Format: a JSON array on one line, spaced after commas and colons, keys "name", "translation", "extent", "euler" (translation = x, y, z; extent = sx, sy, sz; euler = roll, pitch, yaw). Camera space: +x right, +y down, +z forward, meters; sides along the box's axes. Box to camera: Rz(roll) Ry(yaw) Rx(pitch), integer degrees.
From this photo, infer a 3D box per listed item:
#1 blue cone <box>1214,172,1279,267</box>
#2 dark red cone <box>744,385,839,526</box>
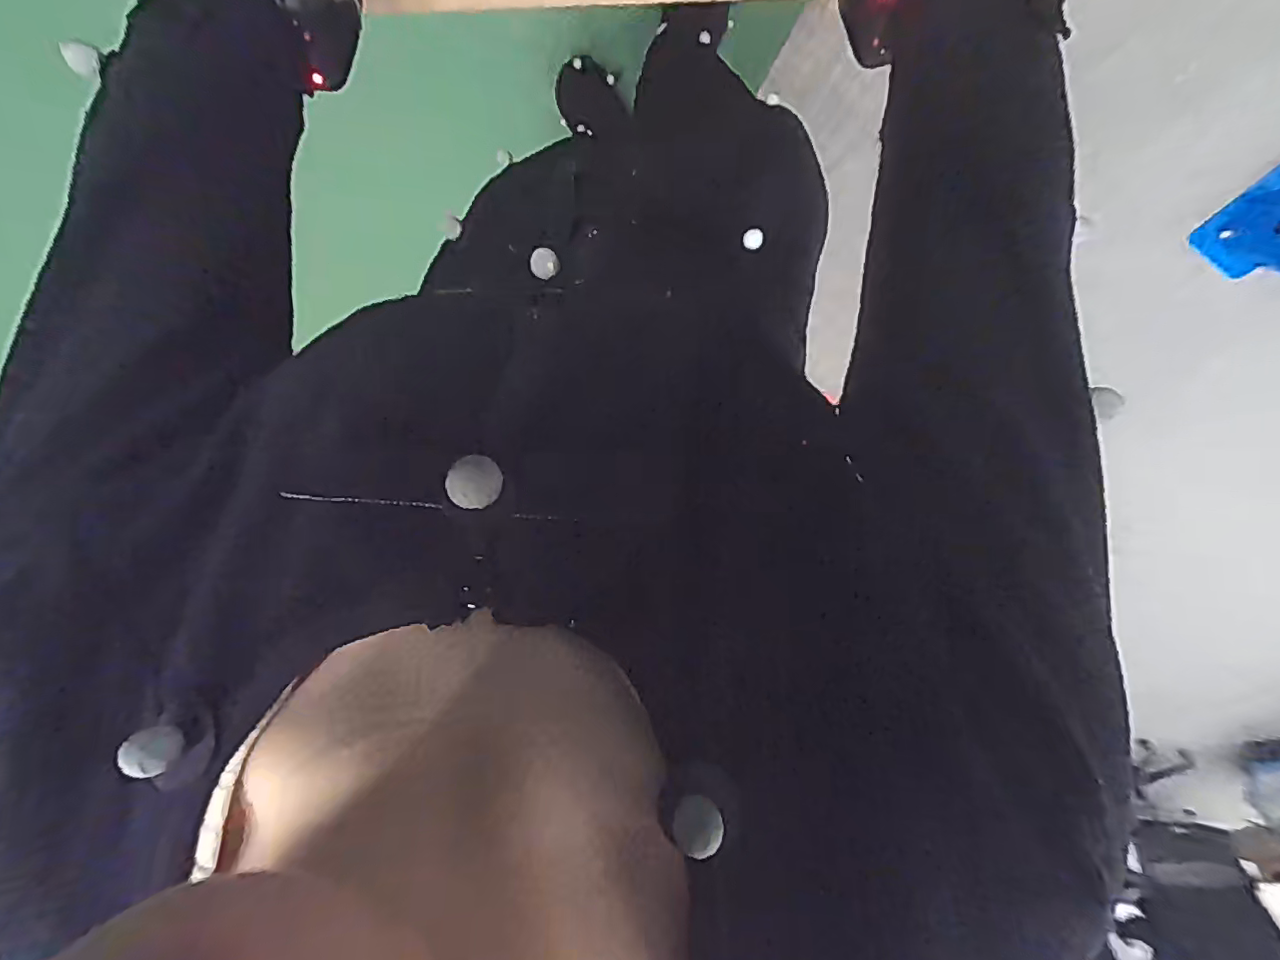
[{"name": "blue cone", "translation": [1.275, -0.414, 0.962], "extent": [0.193, 0.380, 0.192], "euler": [23, 133, -19]}, {"name": "dark red cone", "translation": [0.397, -0.046, 1.378], "extent": [0.201, 0.394, 0.202], "euler": [20, 135, -11]}]
